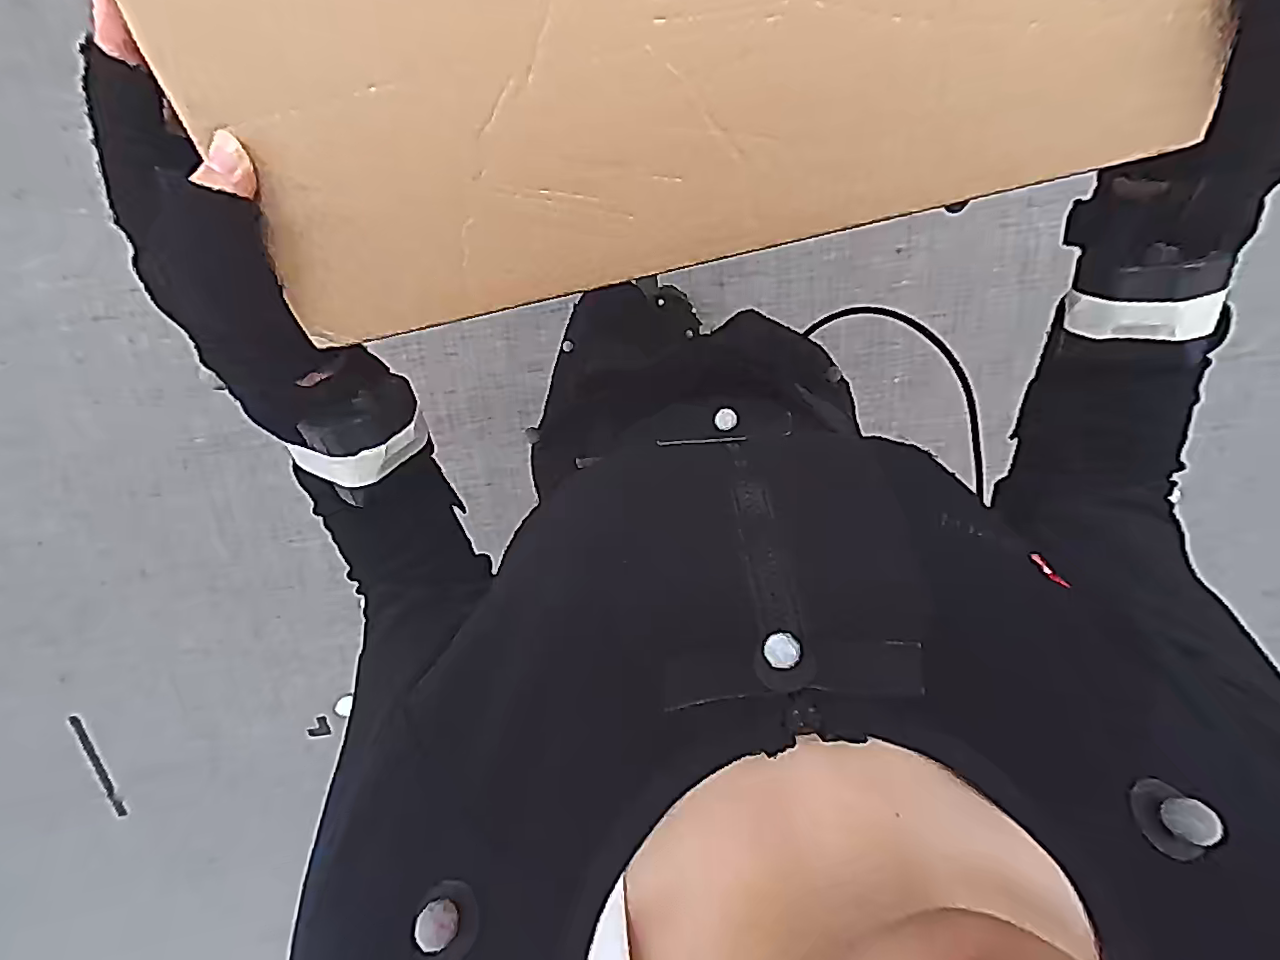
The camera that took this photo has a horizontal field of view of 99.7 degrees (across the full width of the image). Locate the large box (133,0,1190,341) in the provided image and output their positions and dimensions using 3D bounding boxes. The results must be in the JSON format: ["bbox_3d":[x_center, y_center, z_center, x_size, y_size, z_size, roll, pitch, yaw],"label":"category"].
[{"bbox_3d":[-0.002,-0.317,0.296,0.408,0.320,0.320,-12,122,4],"label":"large box"}]
